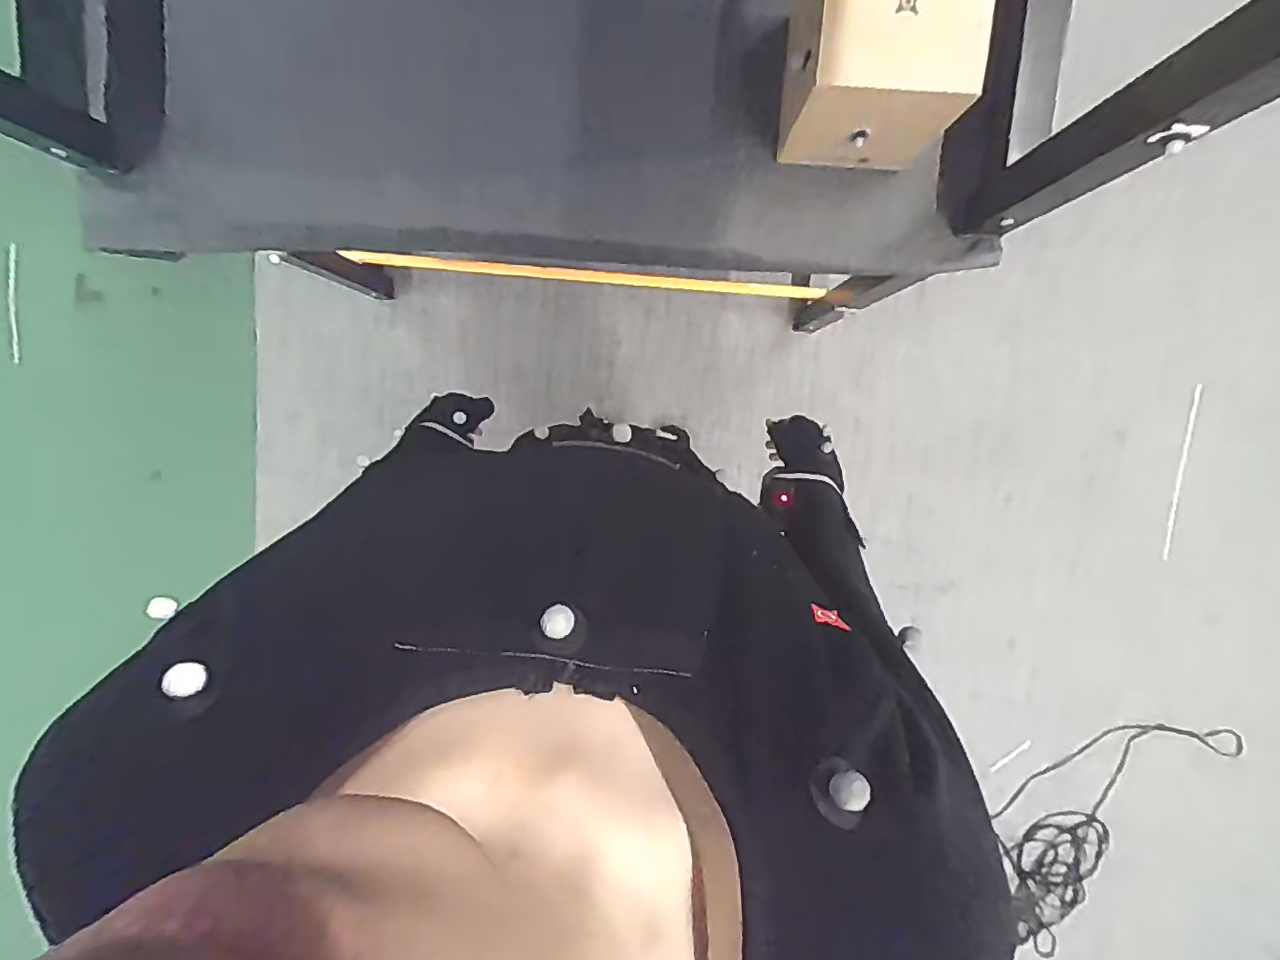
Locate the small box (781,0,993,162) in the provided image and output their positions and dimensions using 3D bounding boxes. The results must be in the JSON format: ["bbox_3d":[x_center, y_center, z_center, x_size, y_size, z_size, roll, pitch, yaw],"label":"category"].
[{"bbox_3d":[0.262,-0.484,0.603,0.168,0.176,0.179,4,97,0],"label":"small box"}]
